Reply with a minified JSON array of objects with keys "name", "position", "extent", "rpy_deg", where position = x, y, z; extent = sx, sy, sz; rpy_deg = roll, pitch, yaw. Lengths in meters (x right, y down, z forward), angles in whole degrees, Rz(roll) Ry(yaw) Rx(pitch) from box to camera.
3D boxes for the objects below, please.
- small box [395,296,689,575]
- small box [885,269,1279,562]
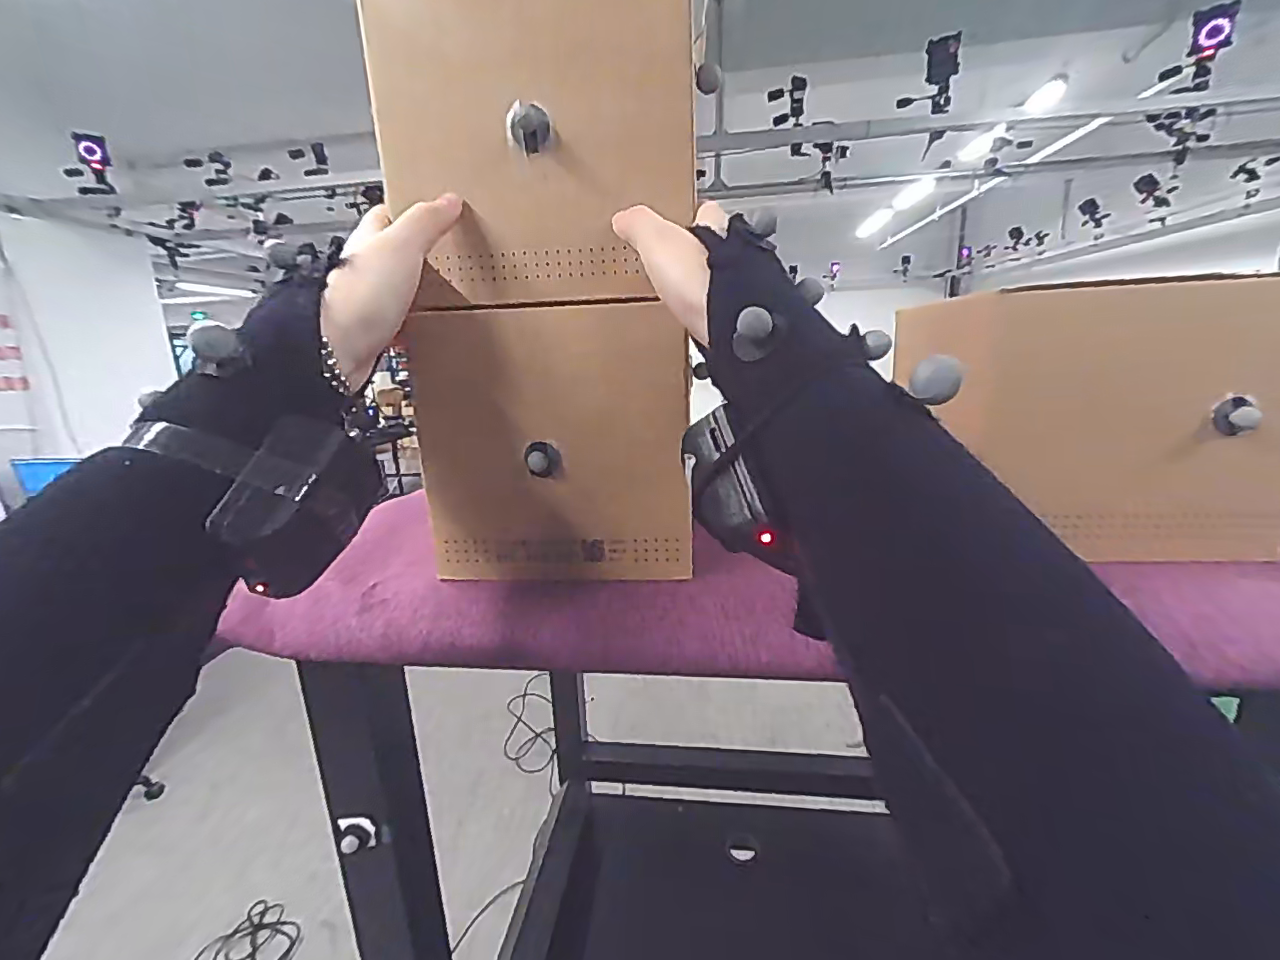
[{"name":"small box","position":[-0.049,-0.038,0.399],"extent":[0.168,0.176,0.179],"rpy_deg":[0,14,5]},{"name":"small box","position":[0.294,-0.048,0.388],"extent":[0.179,0.176,0.168],"rpy_deg":[-2,14,6]}]
